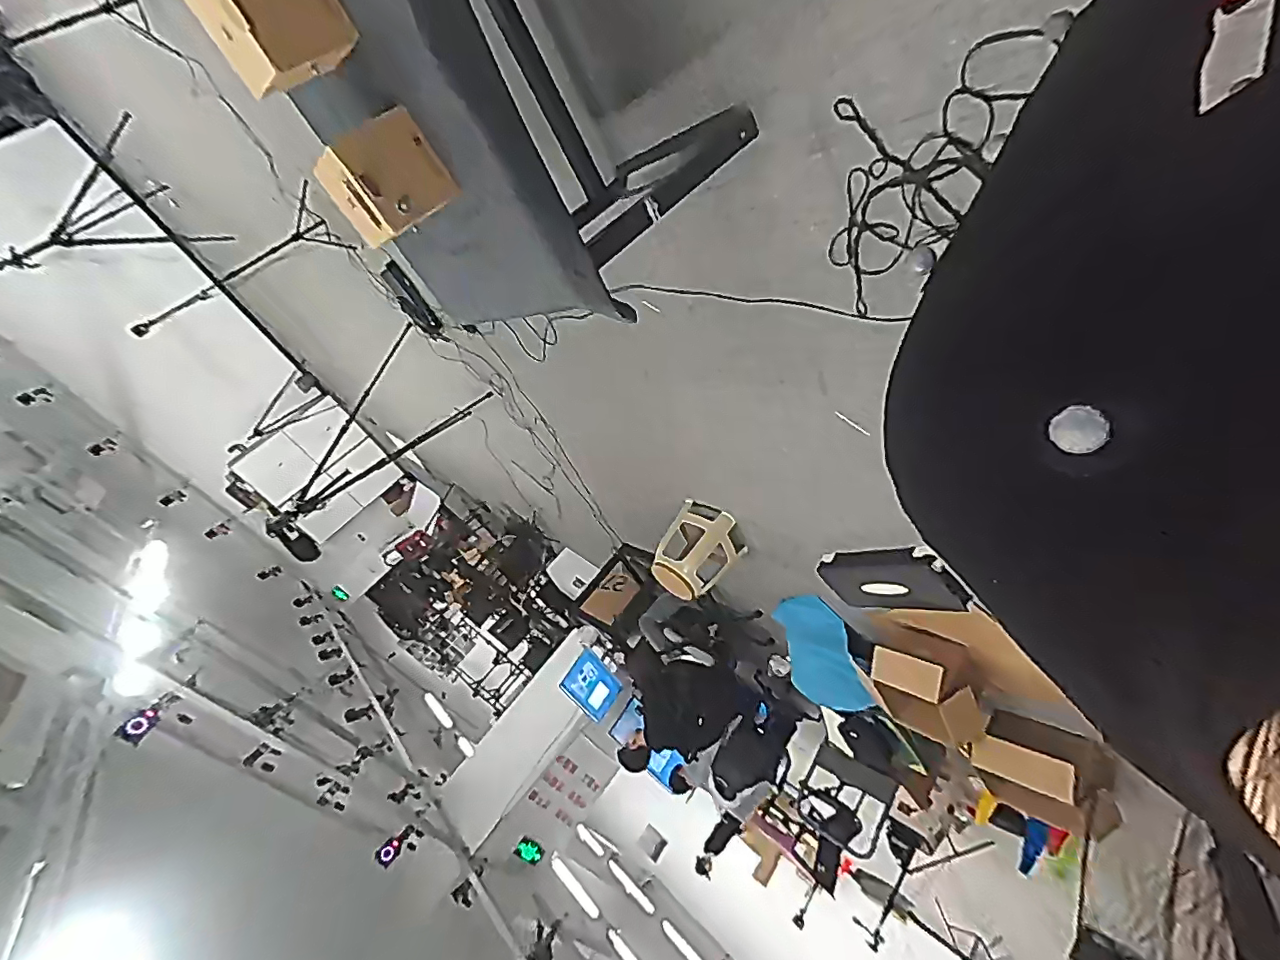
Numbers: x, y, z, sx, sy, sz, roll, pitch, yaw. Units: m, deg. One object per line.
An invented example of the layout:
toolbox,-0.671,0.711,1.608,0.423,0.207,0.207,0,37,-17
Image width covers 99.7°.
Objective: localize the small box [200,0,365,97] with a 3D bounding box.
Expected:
small box,-0.606,-0.797,0.918,0.179,0.176,0.168,19,147,45
